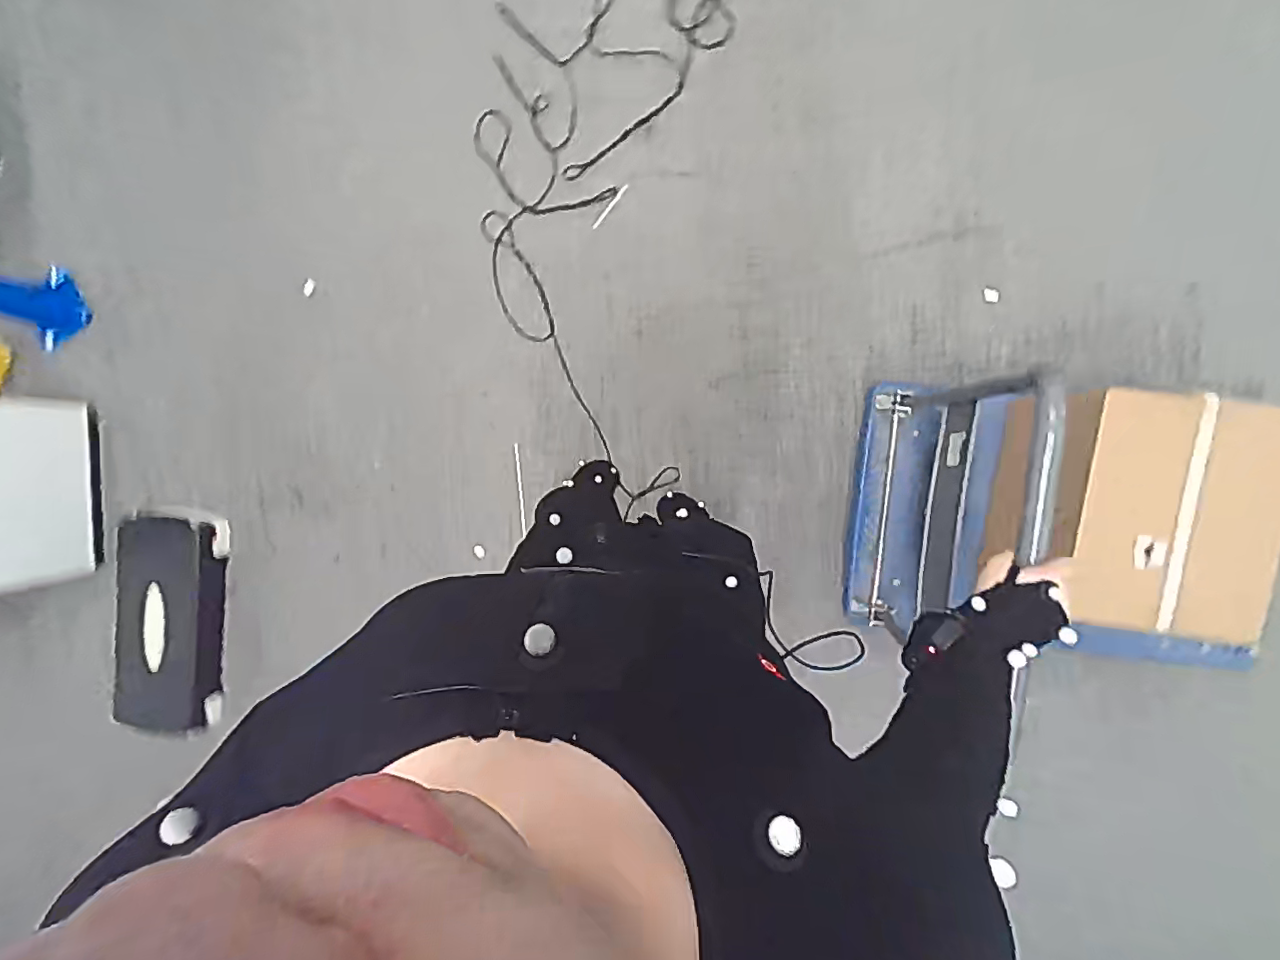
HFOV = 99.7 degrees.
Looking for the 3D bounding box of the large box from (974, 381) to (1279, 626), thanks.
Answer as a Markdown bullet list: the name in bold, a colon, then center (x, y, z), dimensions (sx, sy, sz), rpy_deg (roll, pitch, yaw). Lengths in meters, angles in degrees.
- **large box**: center (0.924, 0.026, 1.076), dimensions (0.320, 0.320, 0.408), rpy_deg (7, 96, 7)
